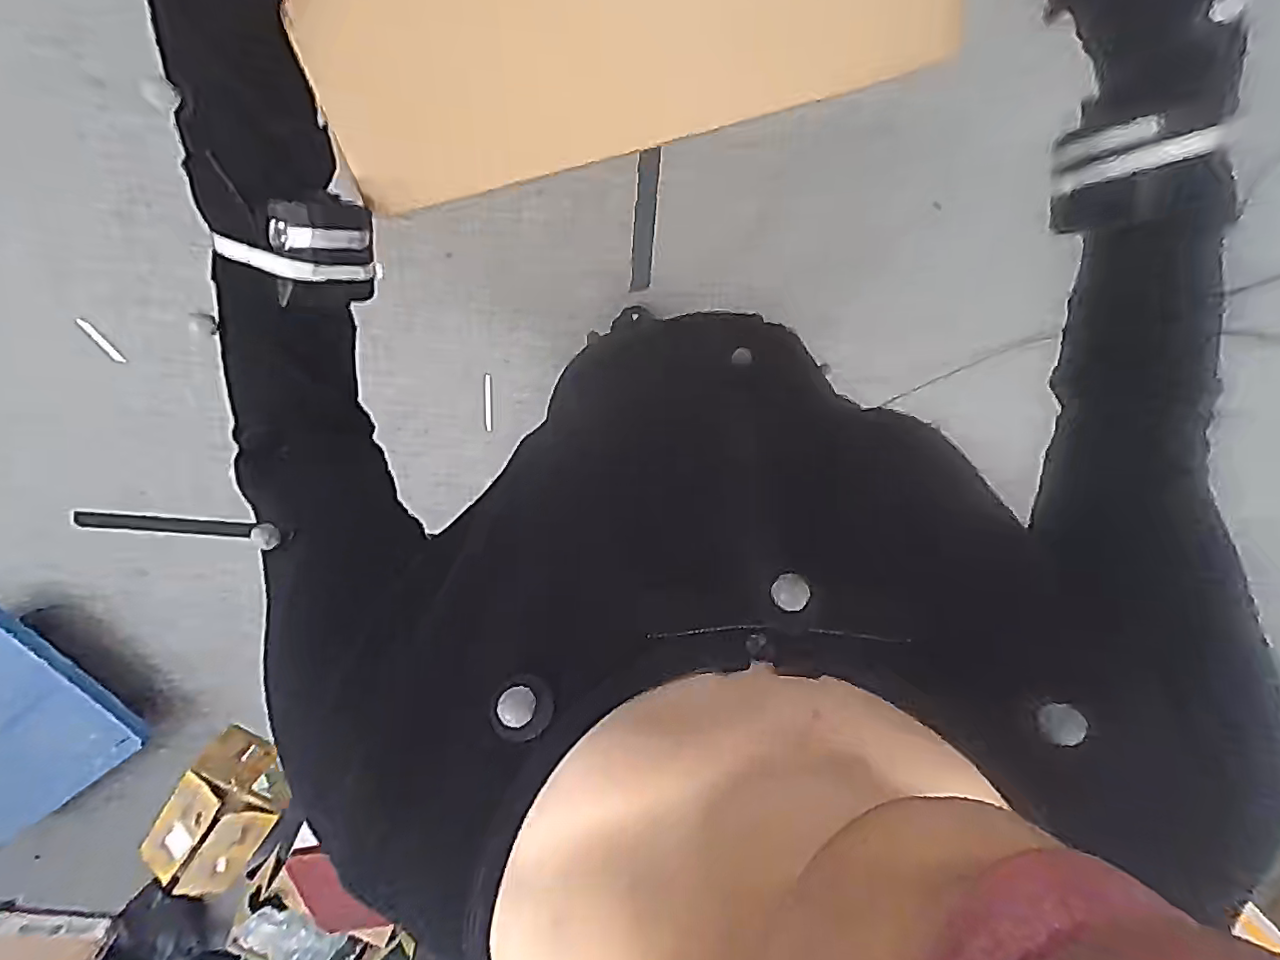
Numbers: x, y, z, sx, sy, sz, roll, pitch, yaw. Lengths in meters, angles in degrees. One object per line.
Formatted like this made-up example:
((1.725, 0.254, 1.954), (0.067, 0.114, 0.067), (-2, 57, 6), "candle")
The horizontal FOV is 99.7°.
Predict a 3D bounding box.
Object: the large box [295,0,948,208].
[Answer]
((-0.046, -0.428, 0.410), (0.408, 0.320, 0.320), (-18, 122, -5), "large box")
